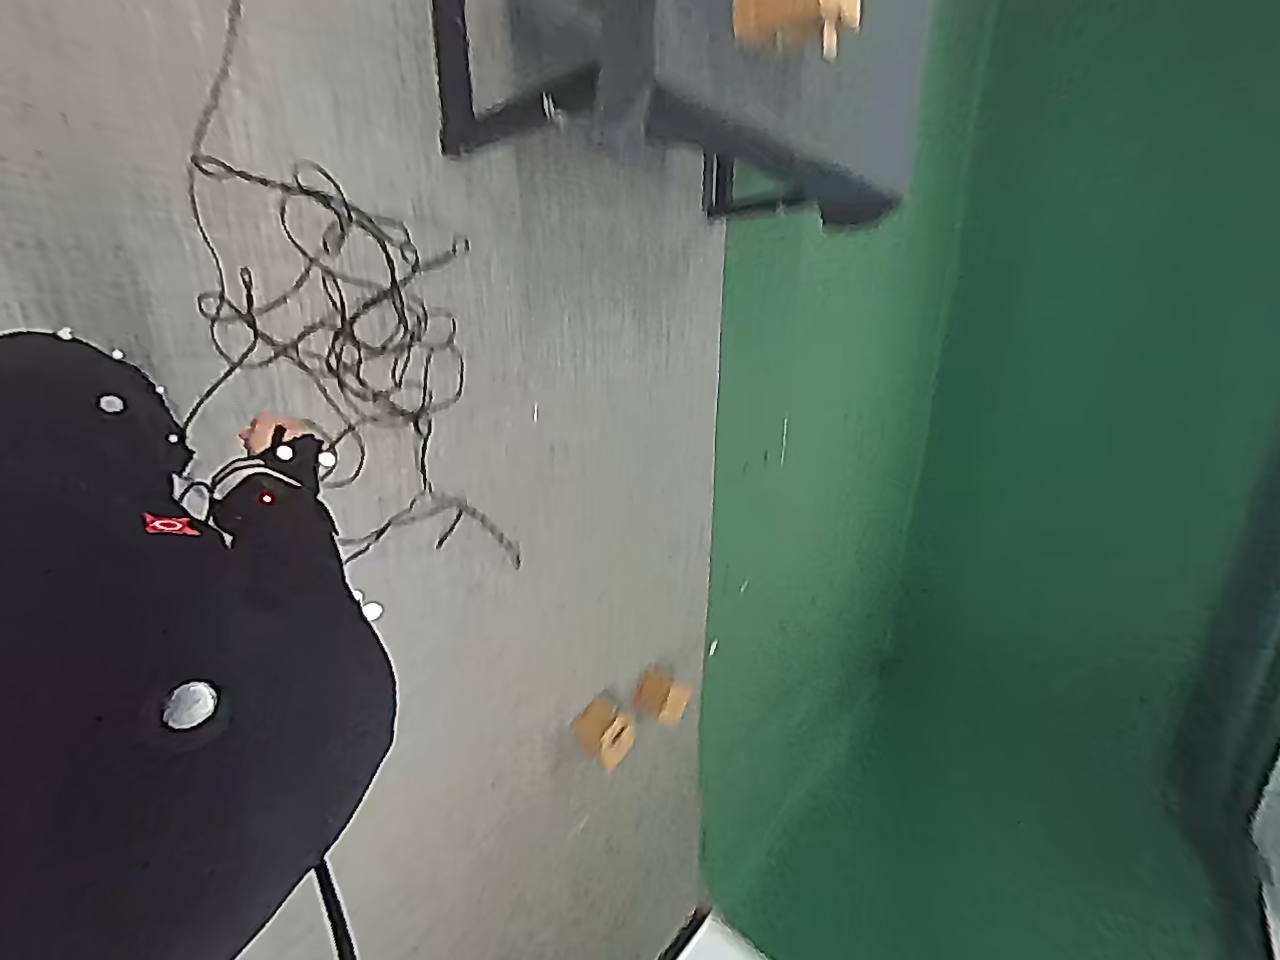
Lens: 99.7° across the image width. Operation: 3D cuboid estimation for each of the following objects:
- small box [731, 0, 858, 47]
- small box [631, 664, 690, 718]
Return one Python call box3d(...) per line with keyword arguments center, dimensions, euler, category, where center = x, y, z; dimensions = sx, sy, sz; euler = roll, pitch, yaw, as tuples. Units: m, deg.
box3d(center=(0.268, -0.898, 0.941), dimensions=(0.168, 0.176, 0.179), euler=(-28, 121, -42), category="small box")
box3d(center=(0.089, 0.940, 2.419), dimensions=(0.179, 0.176, 0.168), euler=(37, 75, -49), category="small box")
